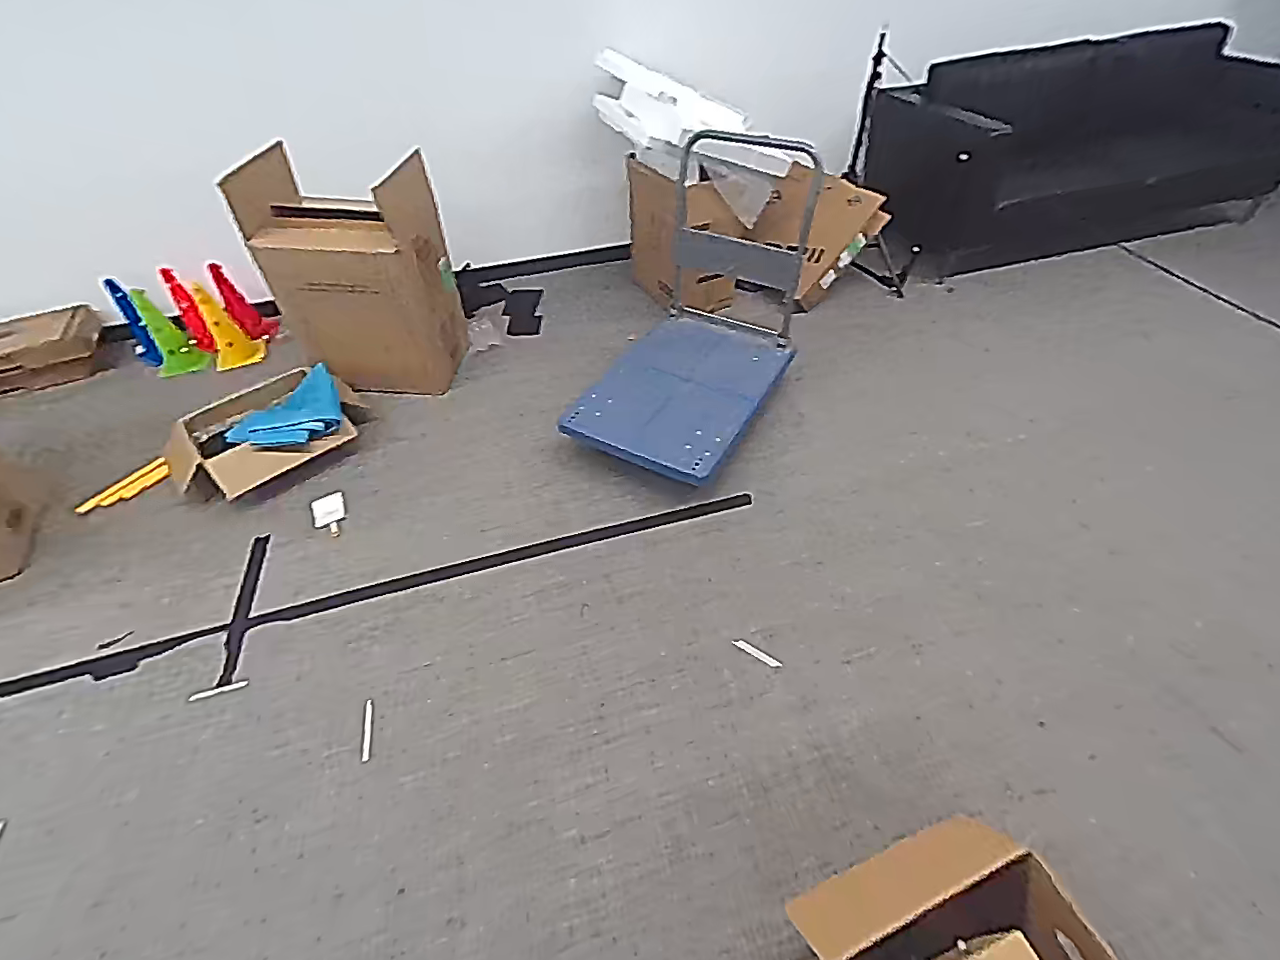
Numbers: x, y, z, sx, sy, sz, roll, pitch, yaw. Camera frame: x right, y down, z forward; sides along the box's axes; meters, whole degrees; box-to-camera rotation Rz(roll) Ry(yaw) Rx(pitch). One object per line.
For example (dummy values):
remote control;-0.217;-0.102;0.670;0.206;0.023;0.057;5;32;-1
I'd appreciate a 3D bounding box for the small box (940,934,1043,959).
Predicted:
small box;0.508;0.791;0.776;0.179;0.176;0.168;-16;47;-11
